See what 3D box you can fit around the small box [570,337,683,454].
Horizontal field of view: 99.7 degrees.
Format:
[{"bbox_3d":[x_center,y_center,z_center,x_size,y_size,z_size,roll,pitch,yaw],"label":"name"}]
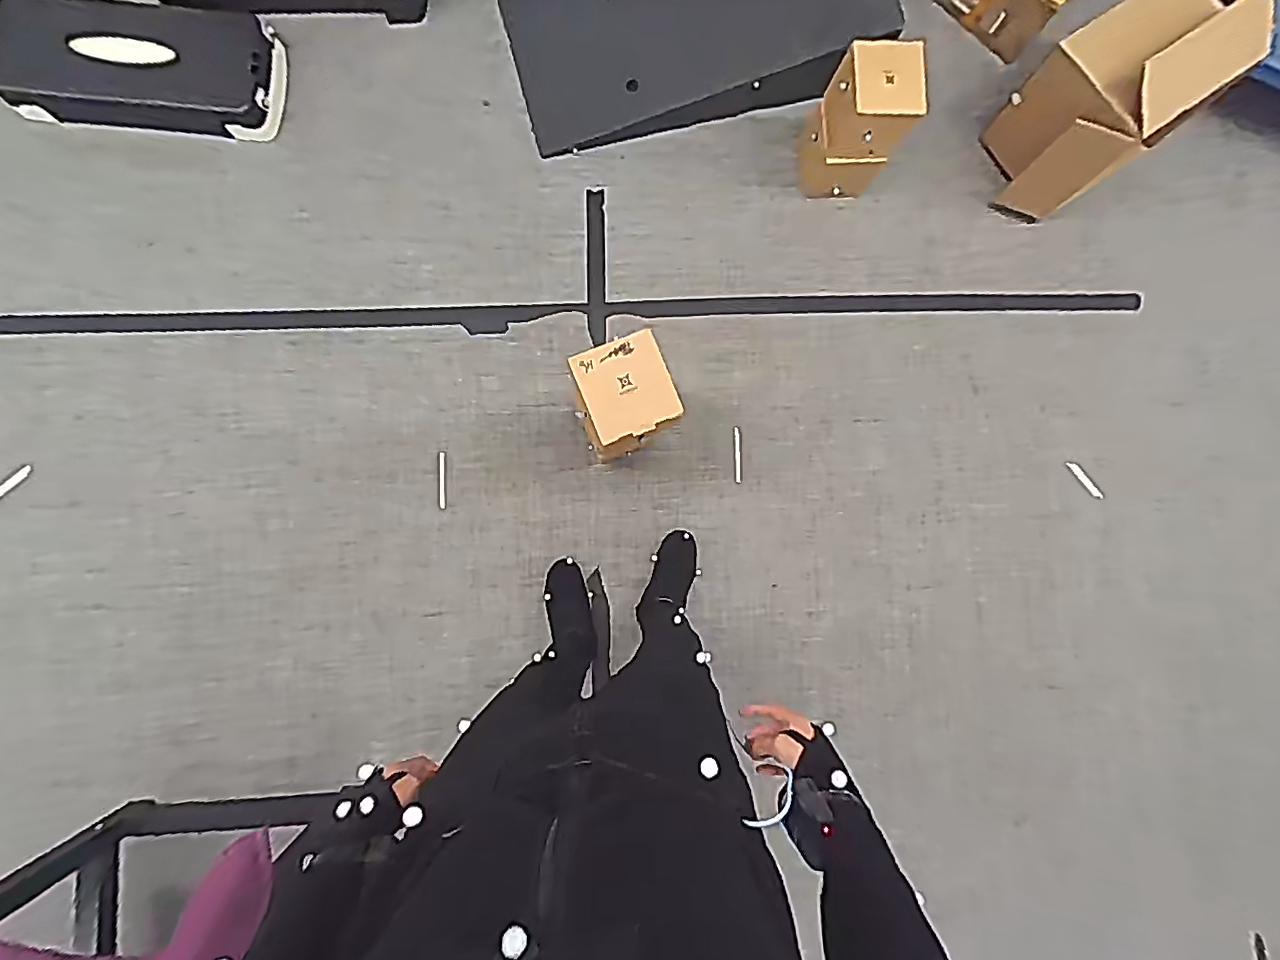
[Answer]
[{"bbox_3d":[-0.029,-0.157,1.078,0.168,0.176,0.179,-21,89,-5],"label":"small box"}]
